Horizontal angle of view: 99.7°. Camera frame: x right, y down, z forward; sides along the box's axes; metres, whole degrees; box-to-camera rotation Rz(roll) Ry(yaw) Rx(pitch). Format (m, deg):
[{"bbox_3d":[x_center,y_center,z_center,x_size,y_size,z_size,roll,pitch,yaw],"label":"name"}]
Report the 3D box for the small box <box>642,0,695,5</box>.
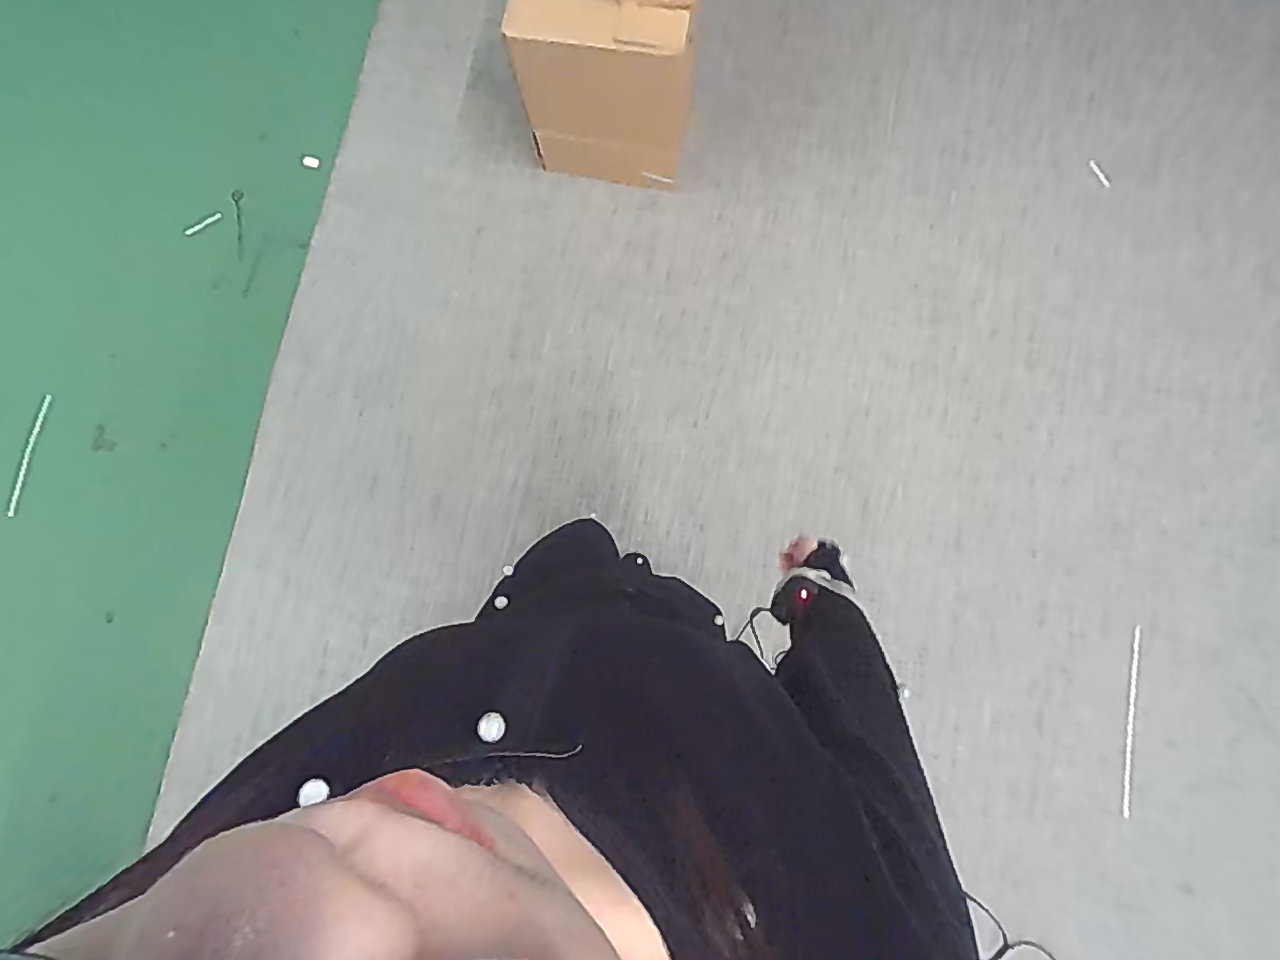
[{"bbox_3d":[0.048,-1.145,1.117,0.168,0.176,0.179,7,84,4],"label":"small box"}]
